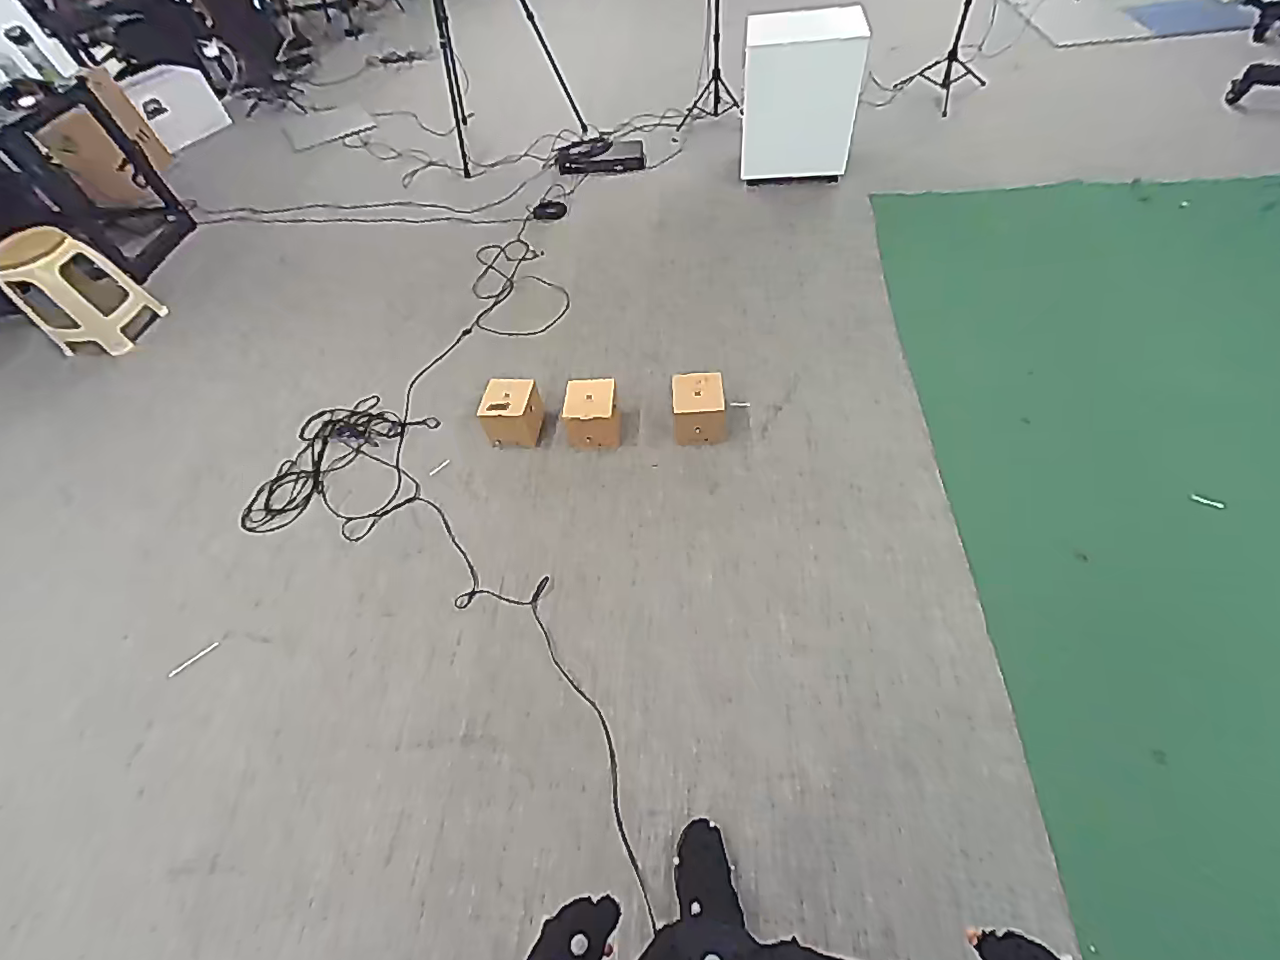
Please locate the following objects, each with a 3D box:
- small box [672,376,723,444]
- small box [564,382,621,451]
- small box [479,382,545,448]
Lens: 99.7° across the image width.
[{"bbox_3d":[0.197,-0.233,1.848,0.168,0.176,0.179,-2,55,5],"label":"small box"},{"bbox_3d":[-0.160,-0.220,1.885,0.168,0.176,0.179,-2,55,6],"label":"small box"},{"bbox_3d":[-0.448,-0.230,1.927,0.168,0.176,0.179,3,54,9],"label":"small box"}]
